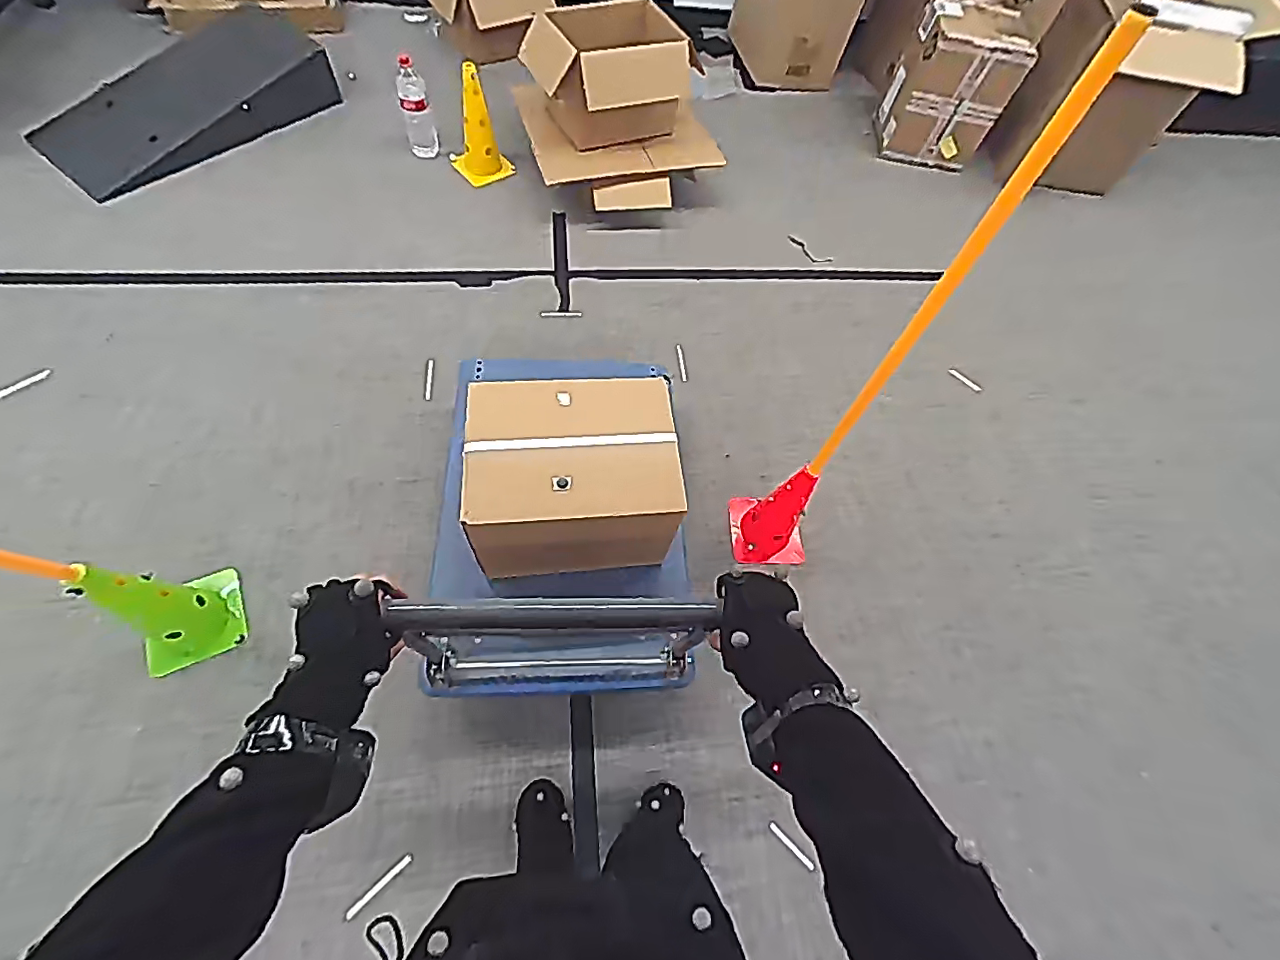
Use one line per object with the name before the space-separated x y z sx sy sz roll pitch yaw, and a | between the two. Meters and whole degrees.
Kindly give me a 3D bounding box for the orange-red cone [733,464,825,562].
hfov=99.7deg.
orange-red cone | 0.382 0.057 1.375 0.199 0.360 0.198 3 62 -6
